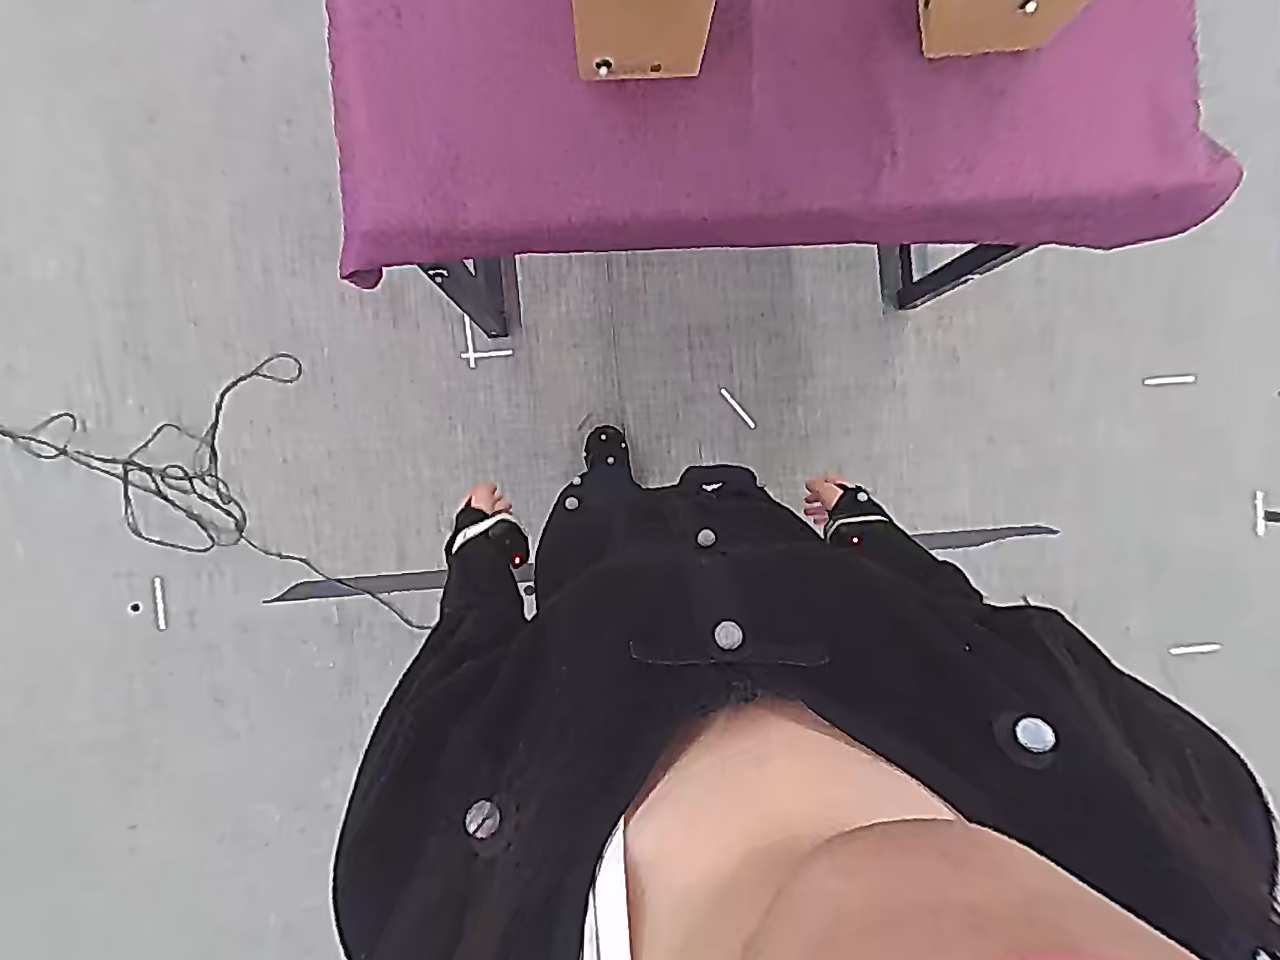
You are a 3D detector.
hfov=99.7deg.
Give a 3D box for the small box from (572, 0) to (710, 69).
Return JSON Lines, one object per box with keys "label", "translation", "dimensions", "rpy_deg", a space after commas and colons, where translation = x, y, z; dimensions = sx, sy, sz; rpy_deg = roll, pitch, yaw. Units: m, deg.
{"label": "small box", "translation": [-0.003, -0.637, 0.654], "dimensions": [0.168, 0.176, 0.179], "rpy_deg": [-5, 92, -4]}
